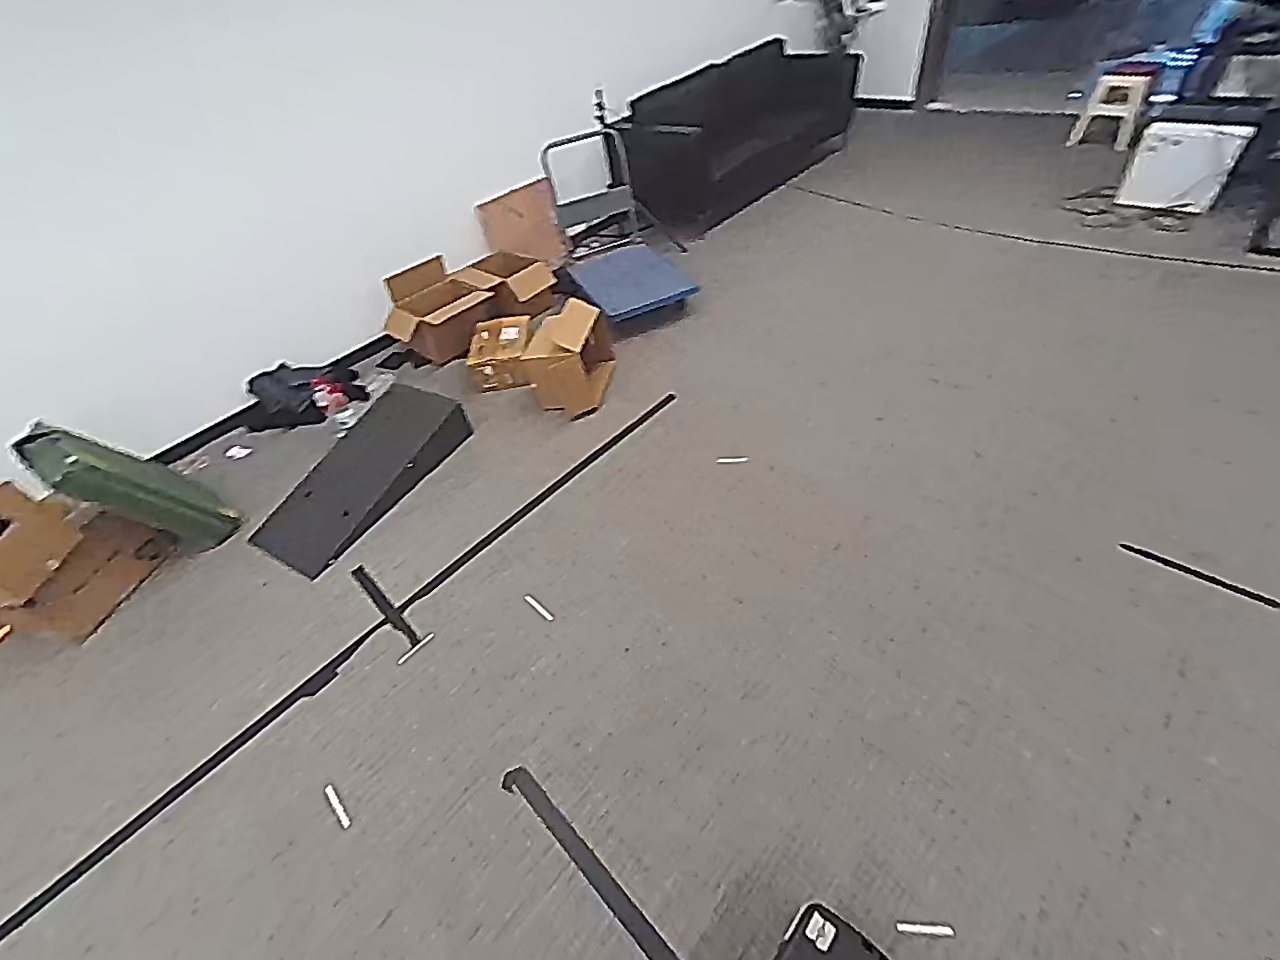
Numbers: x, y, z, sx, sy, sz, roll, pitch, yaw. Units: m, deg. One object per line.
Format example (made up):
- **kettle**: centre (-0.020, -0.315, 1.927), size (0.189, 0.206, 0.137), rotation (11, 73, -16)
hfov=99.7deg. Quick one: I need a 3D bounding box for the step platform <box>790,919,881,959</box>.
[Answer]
- **step platform**: centre (0.271, 1.197, 0.960), size (0.286, 0.204, 0.684), rotation (29, 56, 33)
